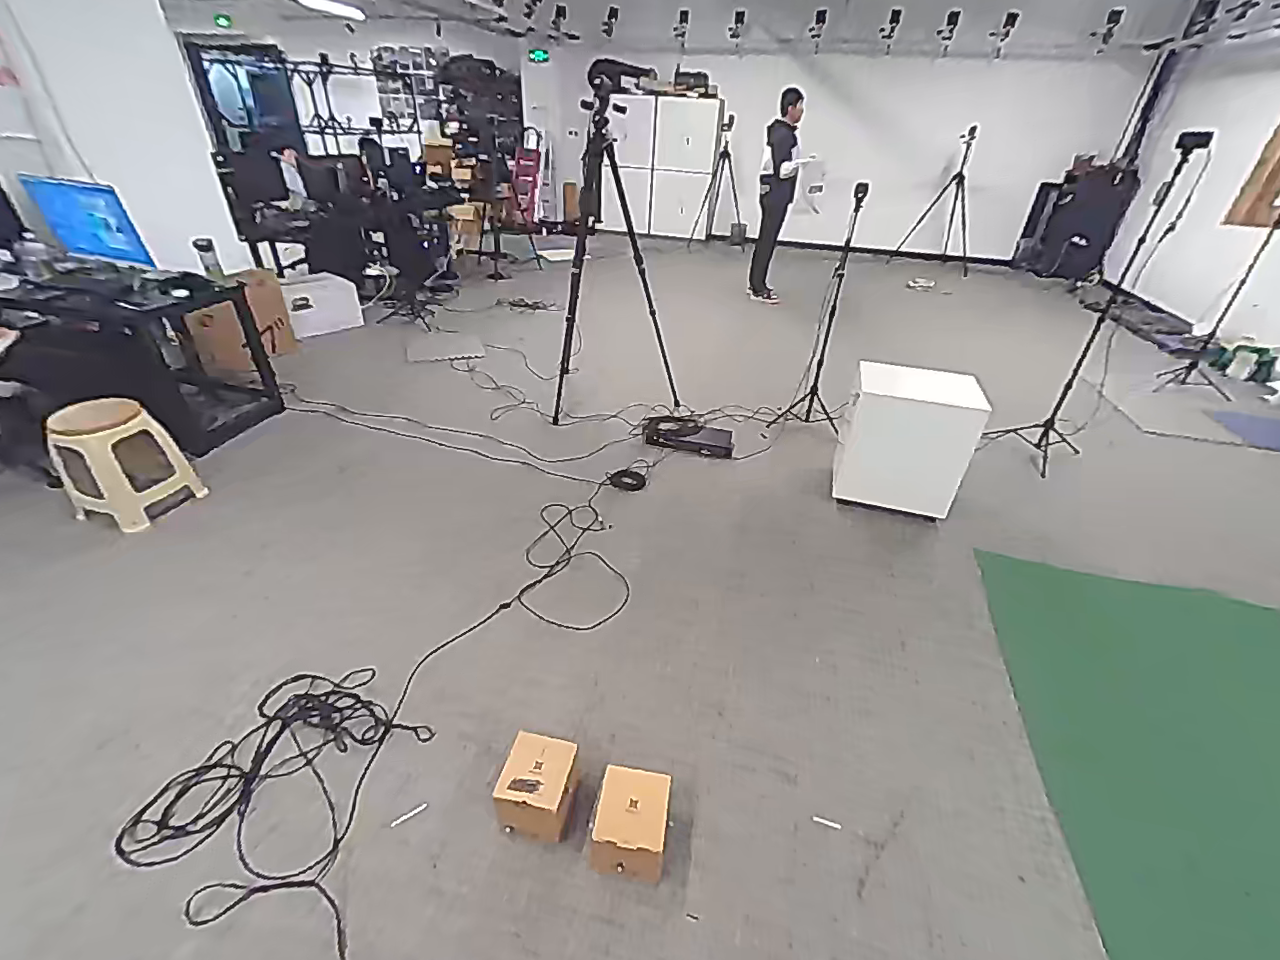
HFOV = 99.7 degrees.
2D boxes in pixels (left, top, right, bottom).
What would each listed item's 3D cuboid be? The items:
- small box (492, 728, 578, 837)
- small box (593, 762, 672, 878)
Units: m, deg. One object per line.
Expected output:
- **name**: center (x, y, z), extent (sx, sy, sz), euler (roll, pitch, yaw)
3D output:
- **small box**: center (-0.260, 0.781, 1.395), extent (0.168, 0.176, 0.179), euler (9, 34, 9)
- **small box**: center (-0.018, 0.836, 1.334), extent (0.168, 0.176, 0.179), euler (7, 35, 6)
